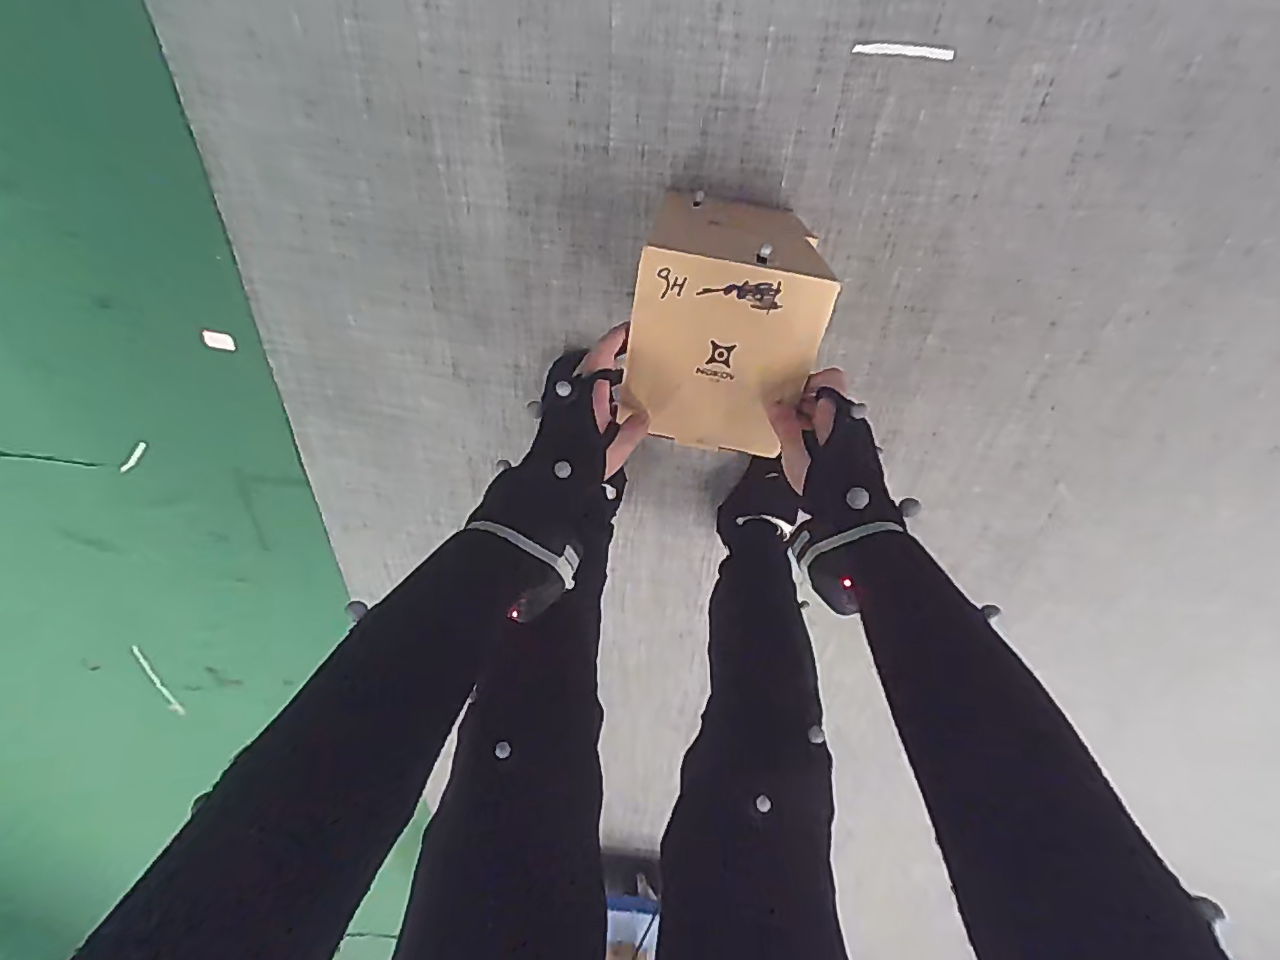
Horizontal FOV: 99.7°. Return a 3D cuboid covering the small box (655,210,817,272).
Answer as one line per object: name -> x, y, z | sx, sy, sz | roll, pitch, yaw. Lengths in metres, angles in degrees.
small box -> 0.100, -0.233, 0.687 | 0.179, 0.176, 0.168 | 10, 125, -1

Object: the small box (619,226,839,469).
small box -> 0.079, -0.140, 0.554 | 0.168, 0.176, 0.179 | 10, 125, -1
